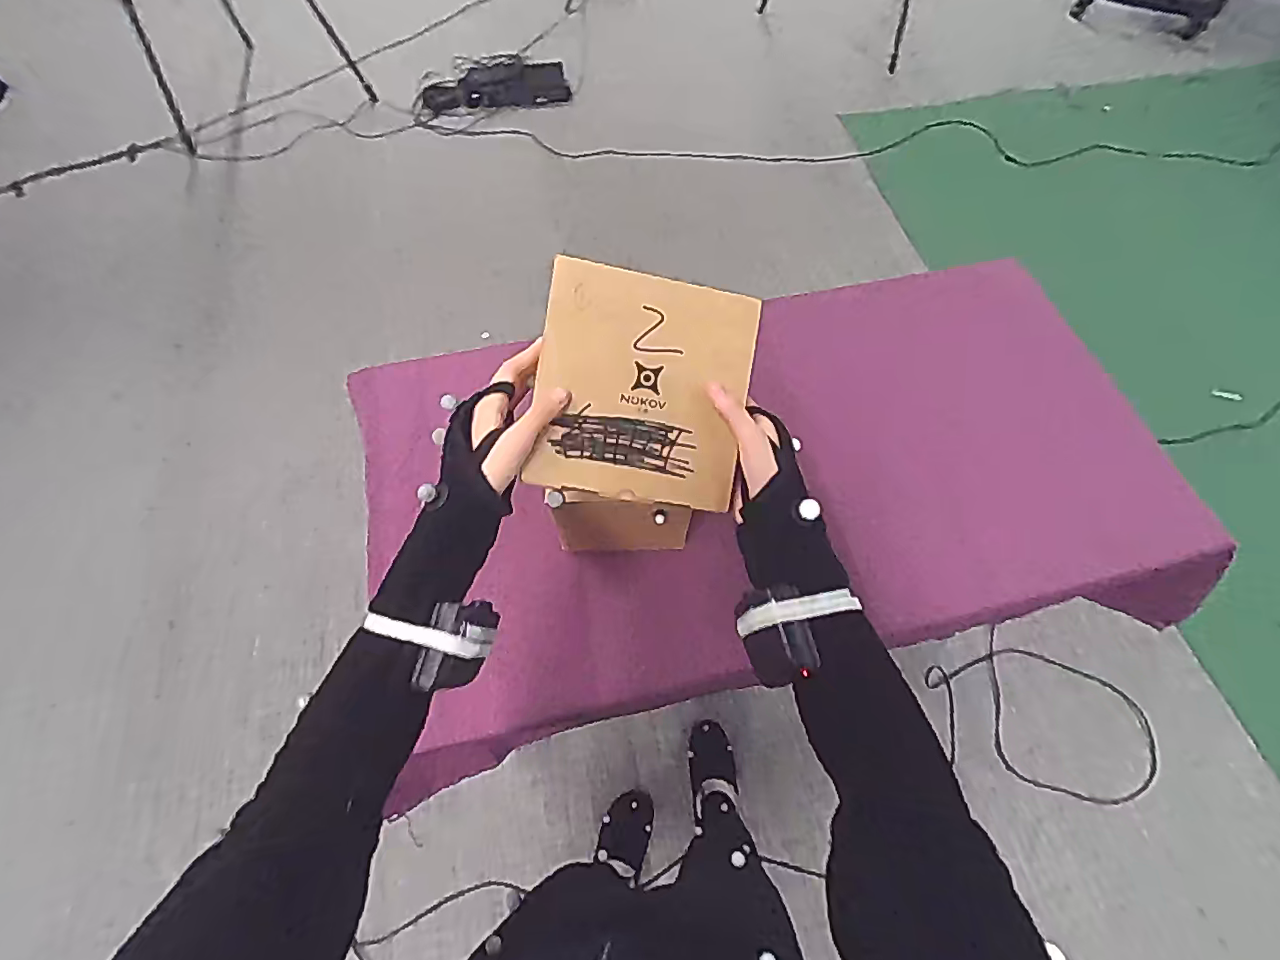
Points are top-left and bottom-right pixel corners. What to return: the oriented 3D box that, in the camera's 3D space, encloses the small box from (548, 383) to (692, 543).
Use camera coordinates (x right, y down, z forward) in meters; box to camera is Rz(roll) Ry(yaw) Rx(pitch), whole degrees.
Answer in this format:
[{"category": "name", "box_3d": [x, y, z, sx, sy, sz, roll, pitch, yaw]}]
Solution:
[{"category": "small box", "box_3d": [-0.027, -0.017, 0.748, 0.179, 0.176, 0.168, -1, 63, -2]}]
